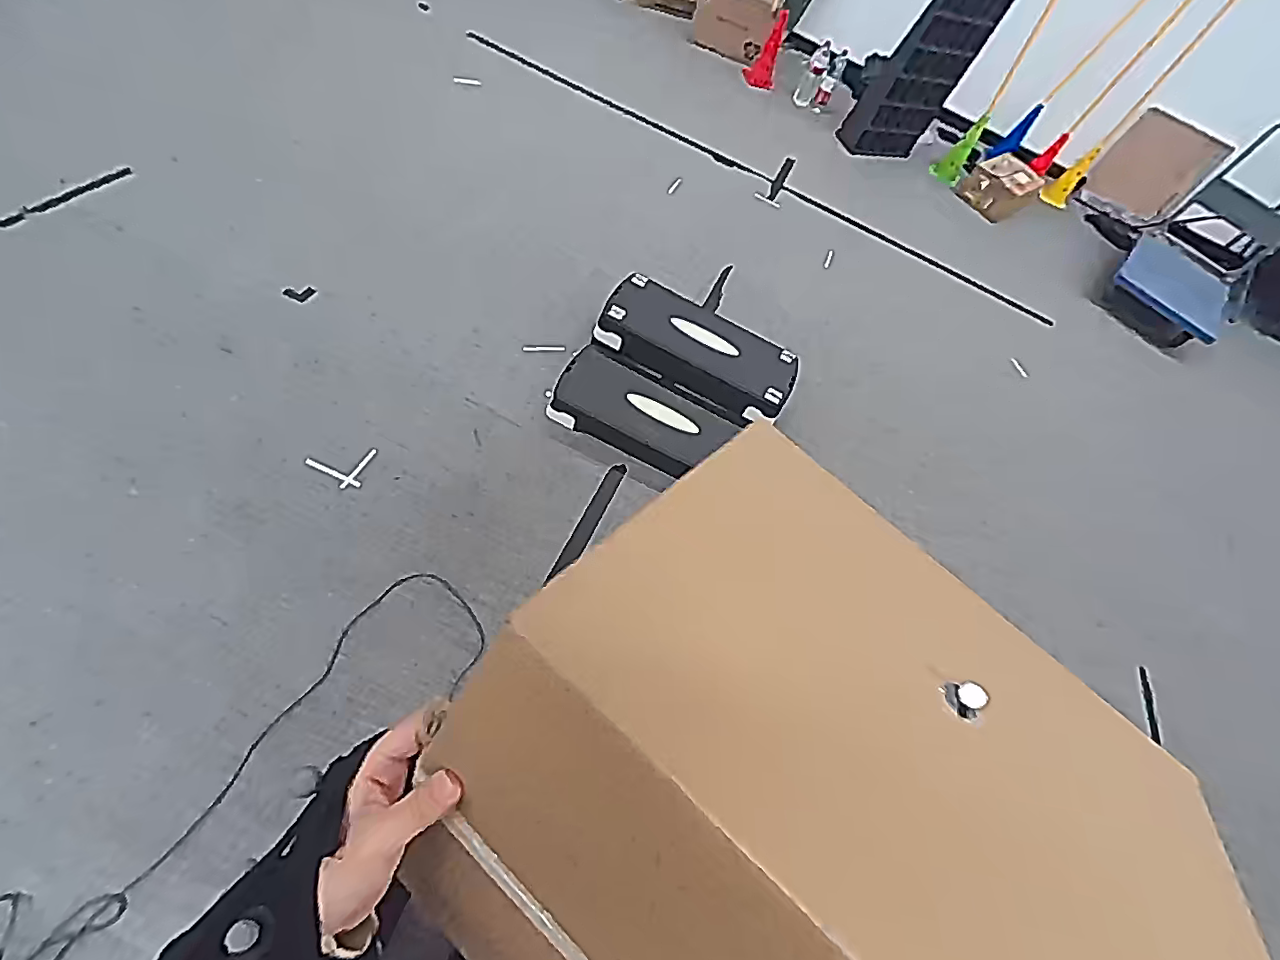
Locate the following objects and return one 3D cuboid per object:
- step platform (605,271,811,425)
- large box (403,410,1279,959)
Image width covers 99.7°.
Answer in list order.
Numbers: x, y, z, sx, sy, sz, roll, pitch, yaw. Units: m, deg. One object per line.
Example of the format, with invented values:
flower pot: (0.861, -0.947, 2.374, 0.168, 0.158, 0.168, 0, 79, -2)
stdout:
step platform: (0.231, -0.422, 1.830, 0.684, 0.204, 0.286, 33, 56, 3)
large box: (0.121, 0.214, 0.374, 0.408, 0.320, 0.320, 41, 37, 10)
